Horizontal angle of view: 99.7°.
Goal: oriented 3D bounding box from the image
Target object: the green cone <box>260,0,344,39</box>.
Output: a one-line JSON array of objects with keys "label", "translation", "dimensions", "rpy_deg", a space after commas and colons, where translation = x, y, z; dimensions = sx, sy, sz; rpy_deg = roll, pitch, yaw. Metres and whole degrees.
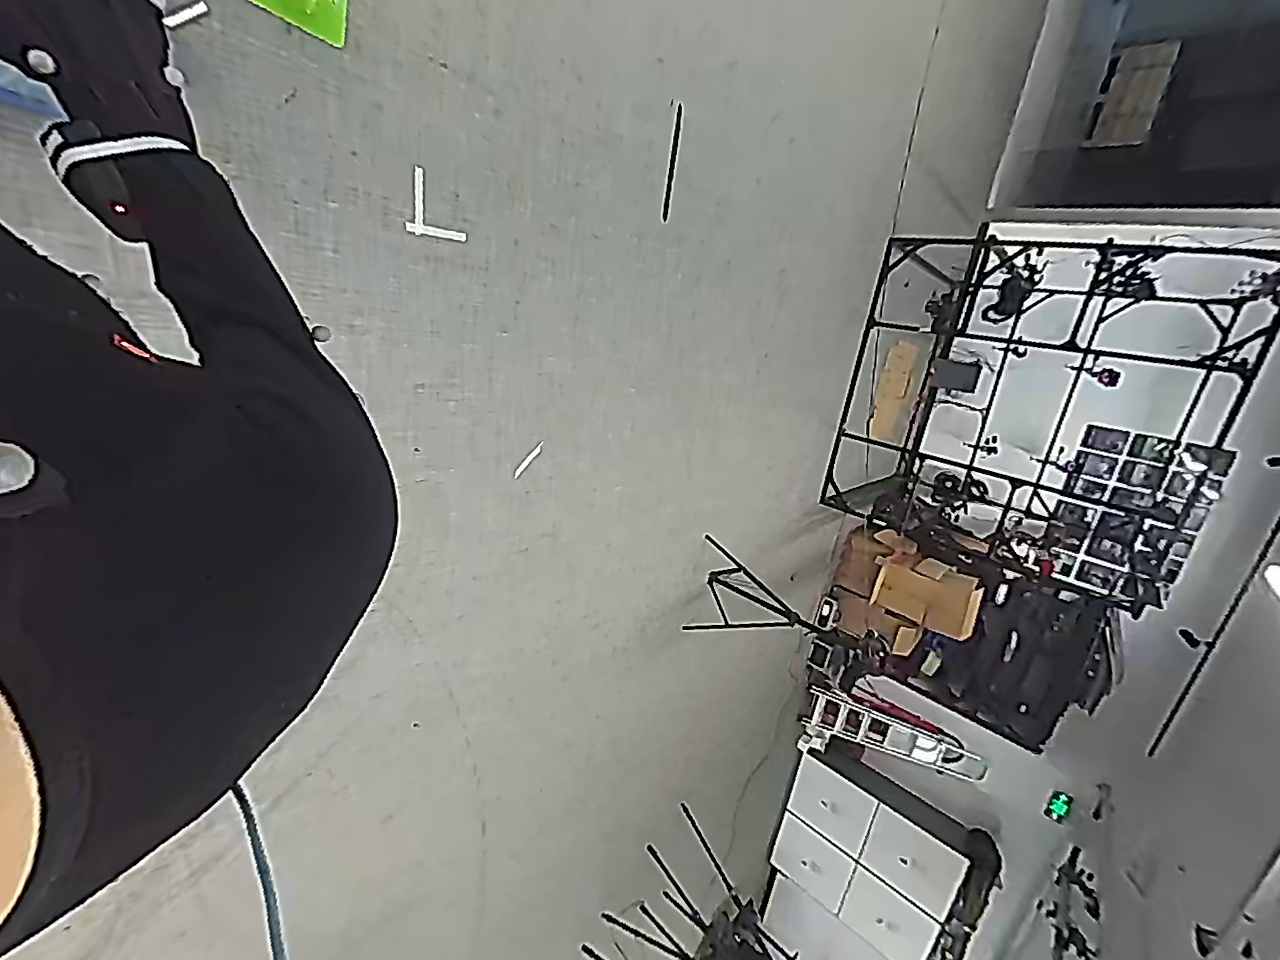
[{"label": "green cone", "translation": [-0.570, -0.992, 0.985], "dimensions": [0.202, 0.368, 0.200], "rpy_deg": [-6, 112, -51]}]
